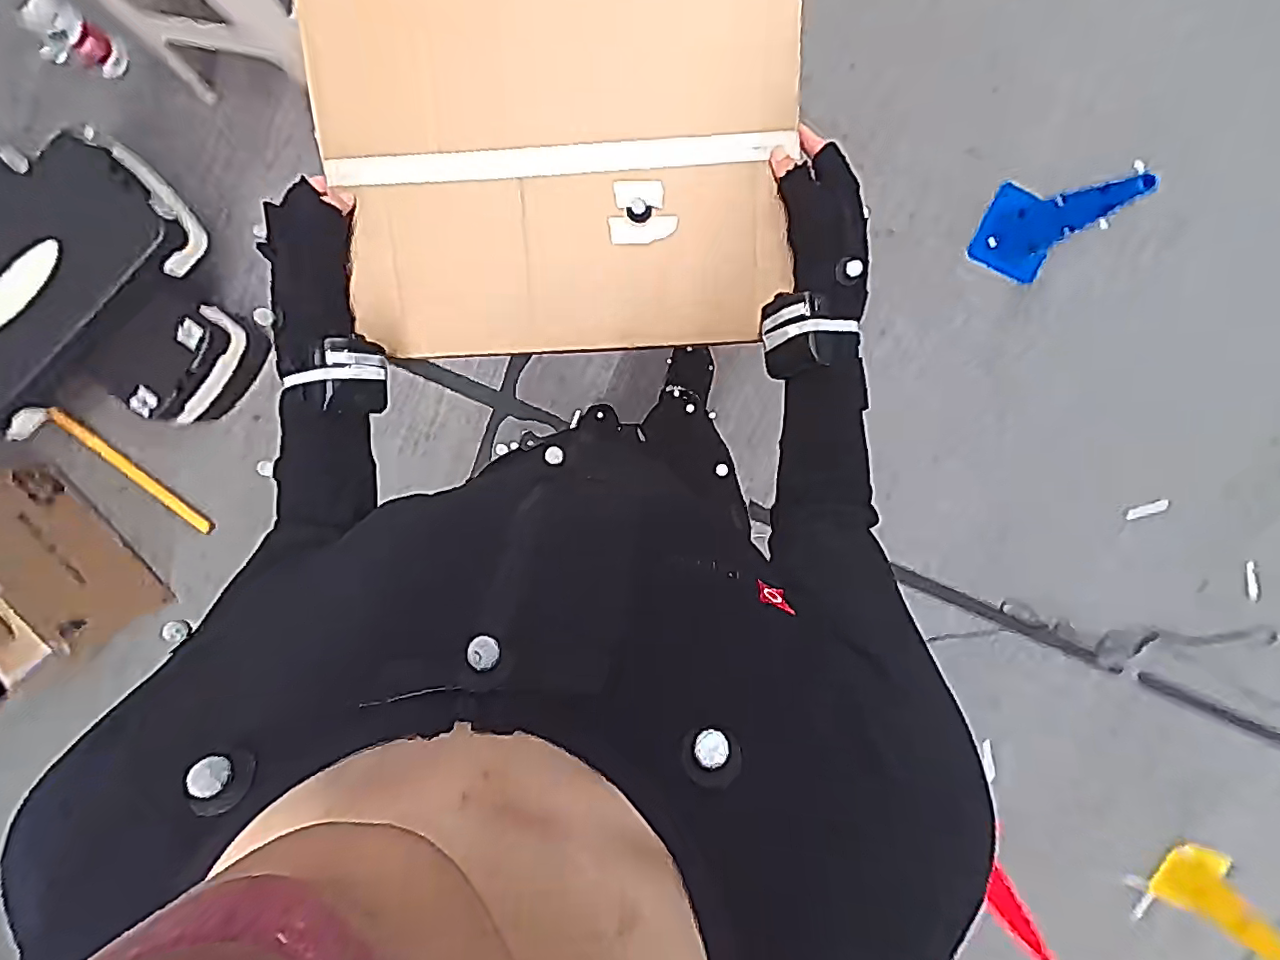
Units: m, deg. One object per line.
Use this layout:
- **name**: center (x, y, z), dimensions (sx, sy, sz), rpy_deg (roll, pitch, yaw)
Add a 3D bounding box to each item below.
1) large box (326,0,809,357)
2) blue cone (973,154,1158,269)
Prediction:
- **large box**: center (-0.057, -0.307, 0.615), dimensions (0.408, 0.320, 0.320), rpy_deg (-1, 104, 1)
- **blue cone**: center (0.972, -0.629, 1.226), dimensions (0.193, 0.380, 0.192), rpy_deg (25, 97, -5)
